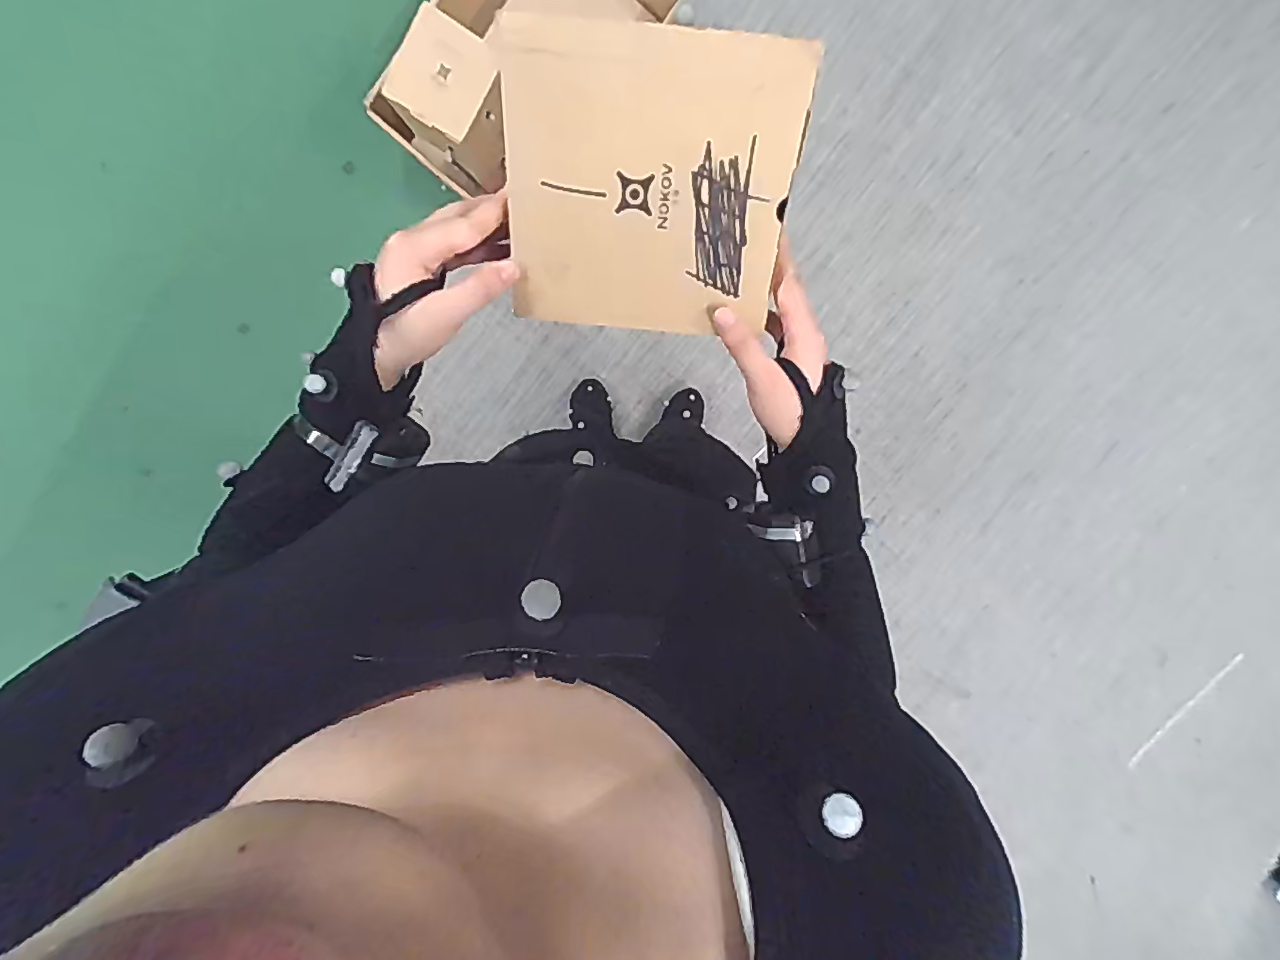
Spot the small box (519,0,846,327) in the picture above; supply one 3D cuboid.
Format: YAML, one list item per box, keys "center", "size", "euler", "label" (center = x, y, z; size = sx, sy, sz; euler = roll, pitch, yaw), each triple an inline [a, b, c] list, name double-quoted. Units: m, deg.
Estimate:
- center: [0.018, -0.225, 0.391]
  size: [0.179, 0.176, 0.168]
  euler: [5, 125, -1]
  label: "small box"

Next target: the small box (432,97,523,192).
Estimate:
- center: [-0.365, -0.779, 1.194]
  size: [0.168, 0.176, 0.179]
  euler: [40, 98, -9]
  label: "small box"

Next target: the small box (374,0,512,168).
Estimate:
- center: [-0.363, -0.743, 1.034]
  size: [0.168, 0.176, 0.179]
  euler: [30, 97, -9]
  label: "small box"
